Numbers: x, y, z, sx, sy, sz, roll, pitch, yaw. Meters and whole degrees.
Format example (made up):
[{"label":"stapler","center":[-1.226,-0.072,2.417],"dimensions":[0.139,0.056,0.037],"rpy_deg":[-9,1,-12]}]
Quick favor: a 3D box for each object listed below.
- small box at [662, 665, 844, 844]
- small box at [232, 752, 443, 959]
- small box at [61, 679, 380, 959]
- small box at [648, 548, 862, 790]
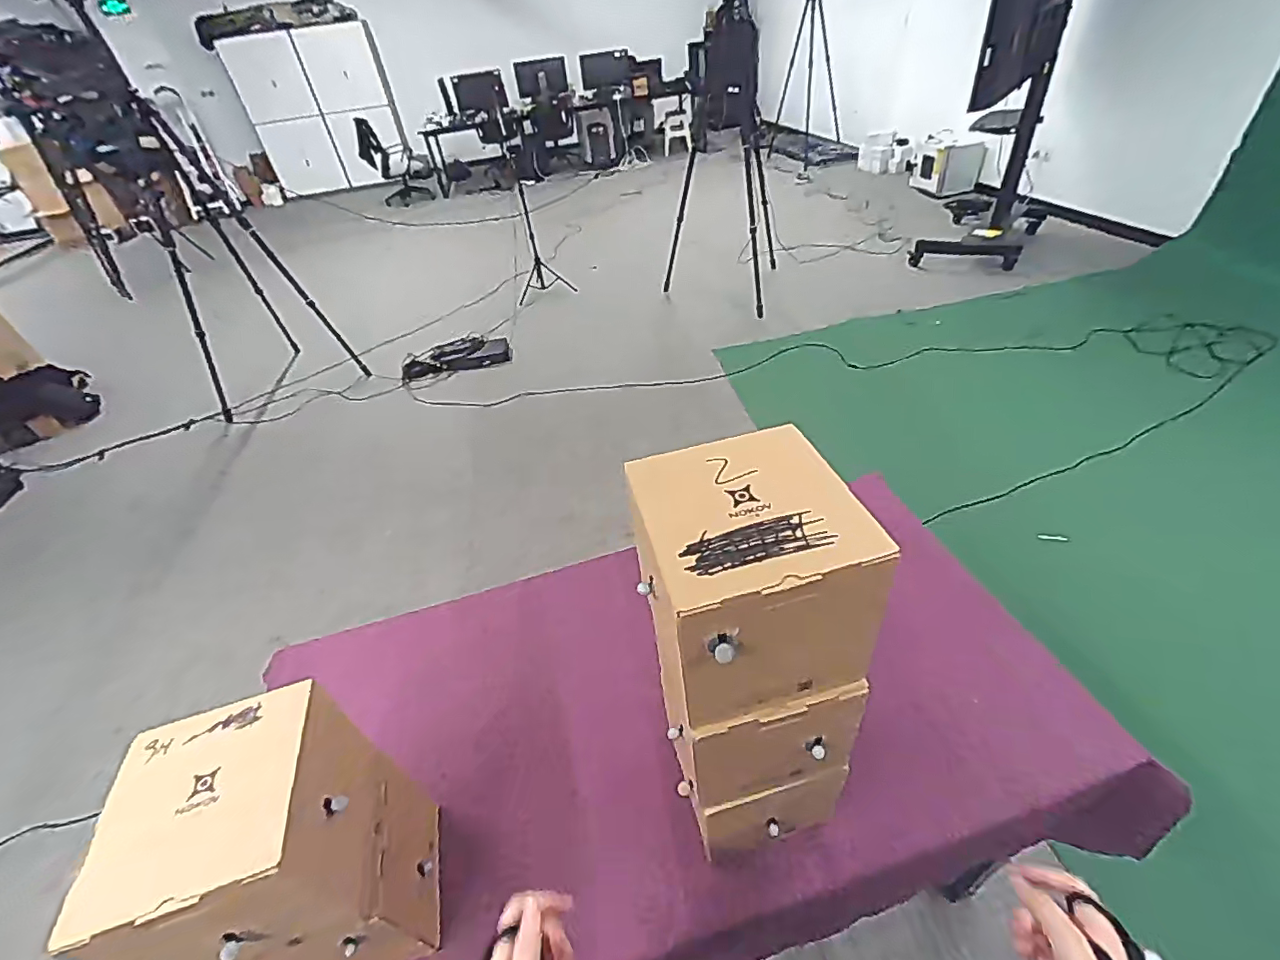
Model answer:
[{"label":"small box","center":[0.135,0.332,0.688],"dimensions":[0.168,0.176,0.179],"rpy_deg":[-14,40,-6]},{"label":"small box","center":[-0.348,0.462,0.634],"dimensions":[0.179,0.176,0.168],"rpy_deg":[-16,40,-9]},{"label":"small box","center":[-0.374,0.336,0.531],"dimensions":[0.168,0.176,0.179],"rpy_deg":[-16,41,-9]},{"label":"small box","center":[0.114,0.207,0.585],"dimensions":[0.168,0.176,0.179],"rpy_deg":[-13,40,-5]}]
